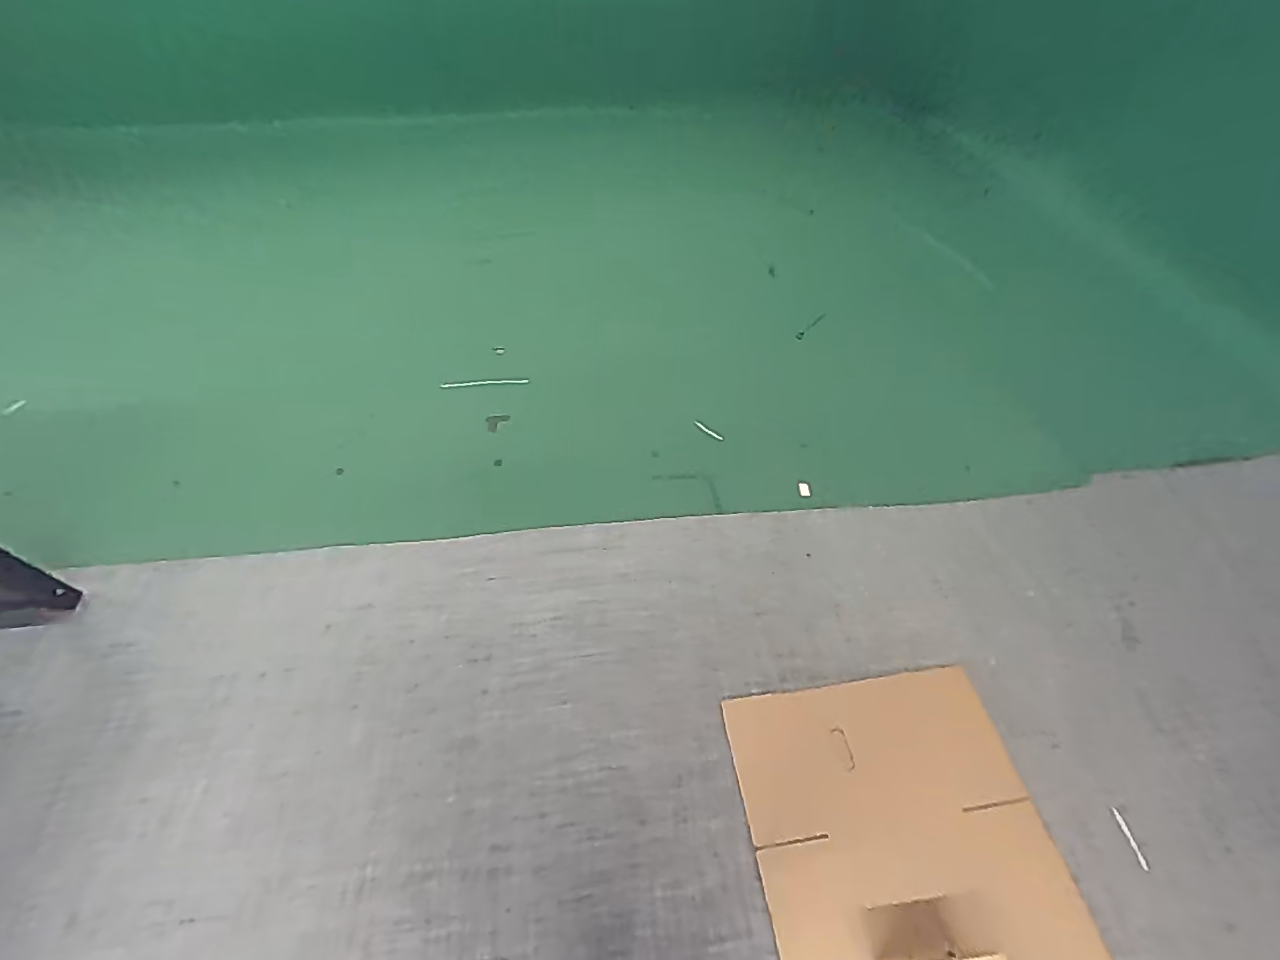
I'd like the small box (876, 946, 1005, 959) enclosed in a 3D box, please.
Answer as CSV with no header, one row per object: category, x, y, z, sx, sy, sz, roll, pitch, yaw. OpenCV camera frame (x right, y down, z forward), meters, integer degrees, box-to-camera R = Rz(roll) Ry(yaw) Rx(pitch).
small box,0.516,0.890,0.887,0.168,0.176,0.179,-5,53,-4
